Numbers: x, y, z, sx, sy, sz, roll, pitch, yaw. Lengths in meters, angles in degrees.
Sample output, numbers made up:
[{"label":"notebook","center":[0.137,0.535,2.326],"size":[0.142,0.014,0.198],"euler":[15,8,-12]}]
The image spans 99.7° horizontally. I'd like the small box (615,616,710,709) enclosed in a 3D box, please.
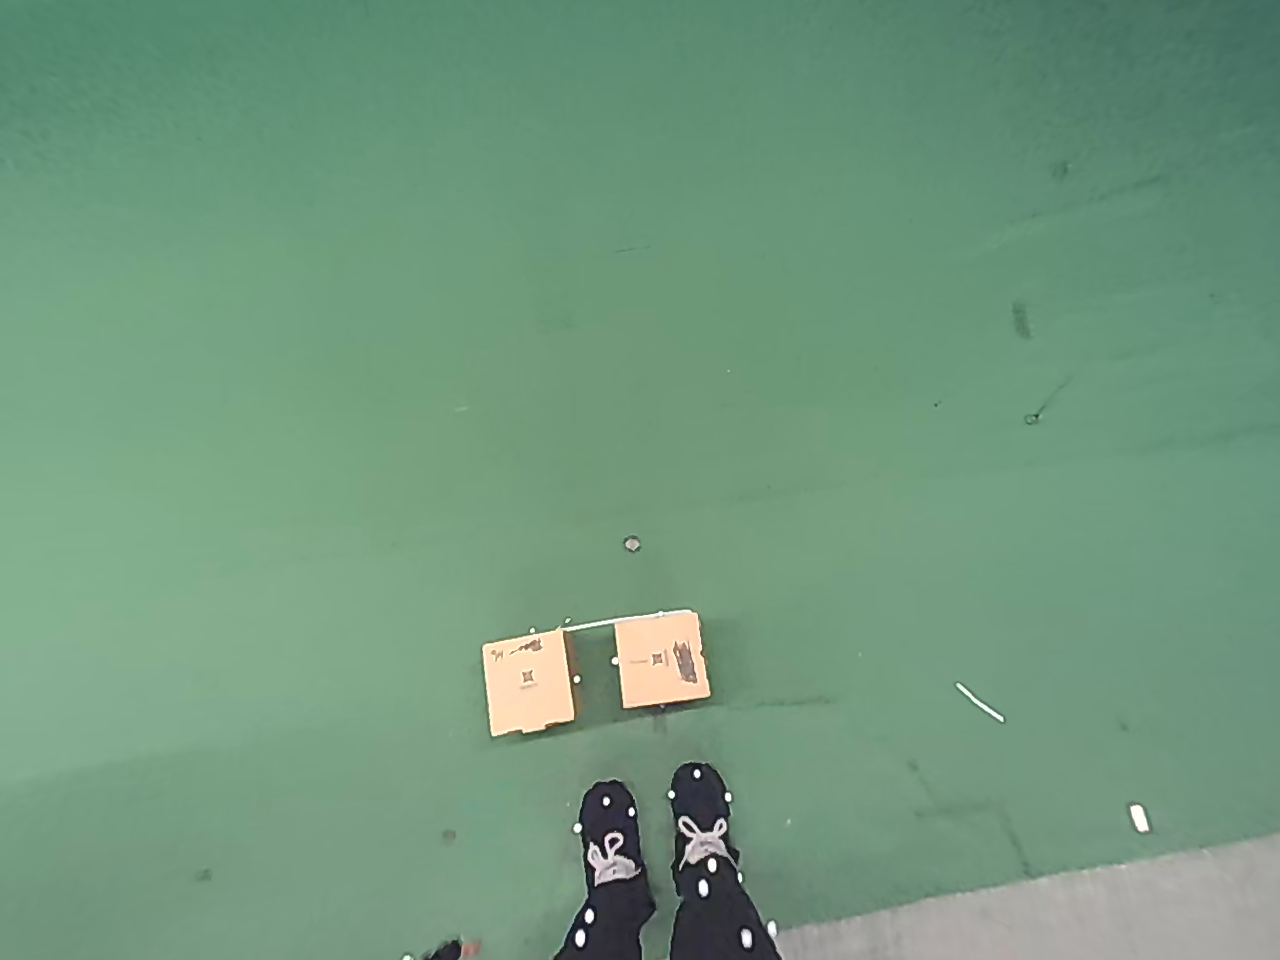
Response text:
[{"label":"small box","center":[0.042,0.384,1.155],"size":[0.179,0.176,0.168],"euler":[-7,72,-2]}]
